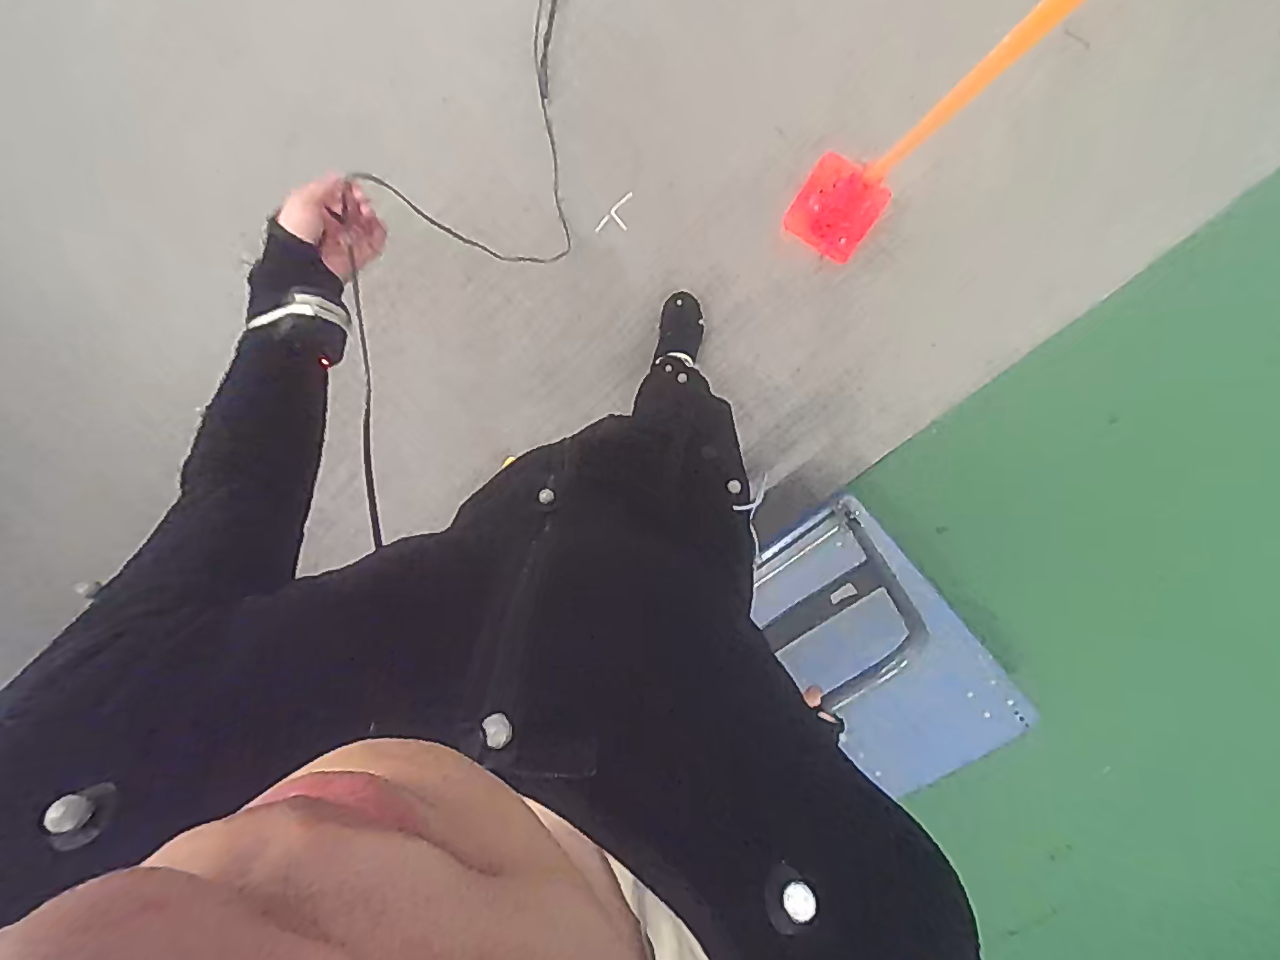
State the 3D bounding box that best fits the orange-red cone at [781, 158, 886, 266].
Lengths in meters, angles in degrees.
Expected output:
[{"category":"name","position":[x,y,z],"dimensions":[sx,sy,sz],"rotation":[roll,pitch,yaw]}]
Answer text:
[{"category":"orange-red cone","position":[0.463,-0.623,1.190],"dimensions":[0.198,0.360,0.199],"rotation":[34,106,-4]}]
